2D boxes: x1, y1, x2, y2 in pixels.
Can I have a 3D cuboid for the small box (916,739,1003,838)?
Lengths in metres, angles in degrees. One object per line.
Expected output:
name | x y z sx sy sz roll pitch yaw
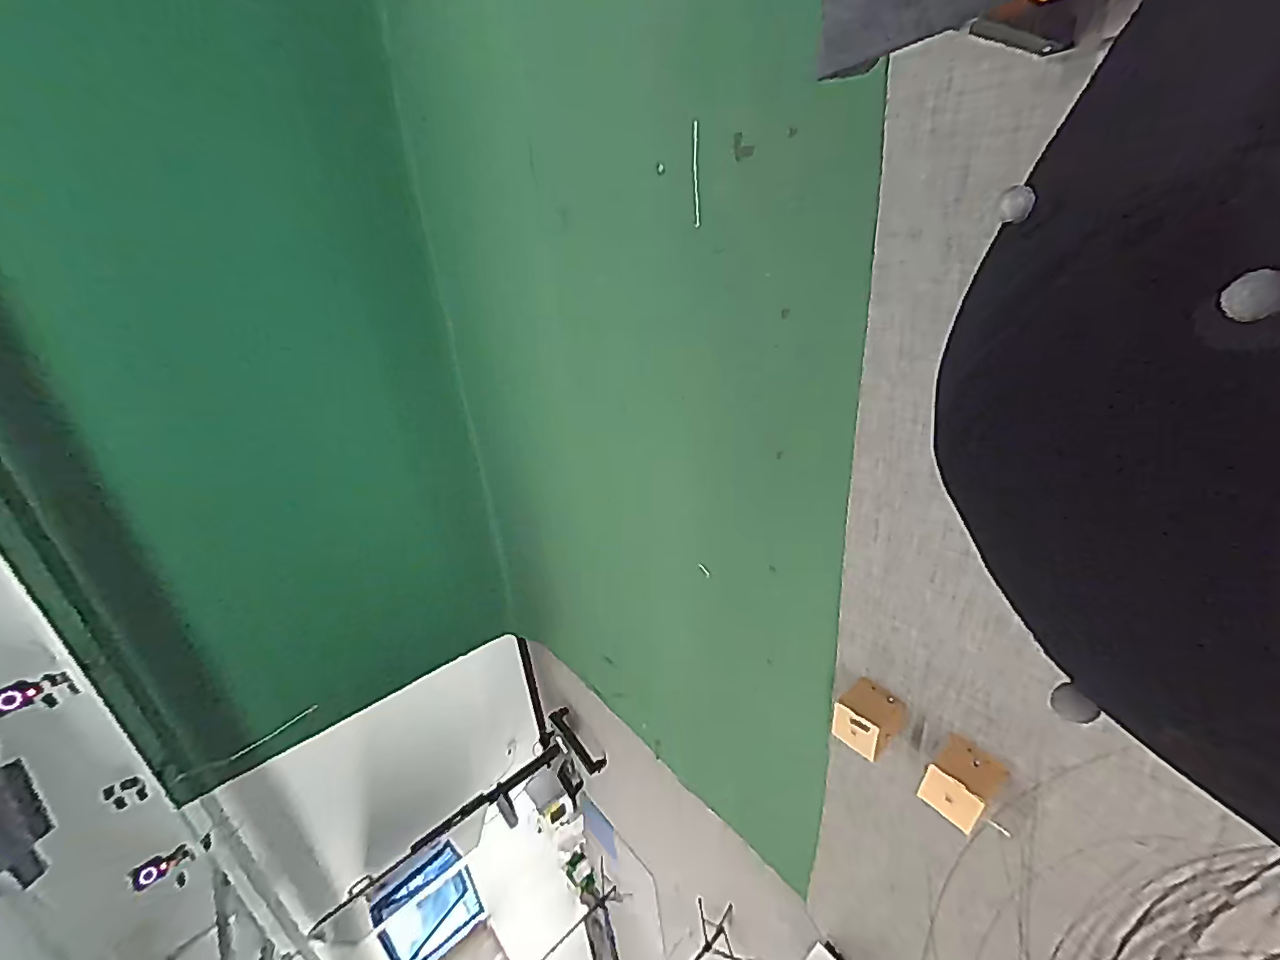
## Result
small box | 1.015 0.972 1.715 0.168 0.176 0.179 30 131 42

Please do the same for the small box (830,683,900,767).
small box | 0.808 0.867 1.934 0.168 0.176 0.179 25 129 45
